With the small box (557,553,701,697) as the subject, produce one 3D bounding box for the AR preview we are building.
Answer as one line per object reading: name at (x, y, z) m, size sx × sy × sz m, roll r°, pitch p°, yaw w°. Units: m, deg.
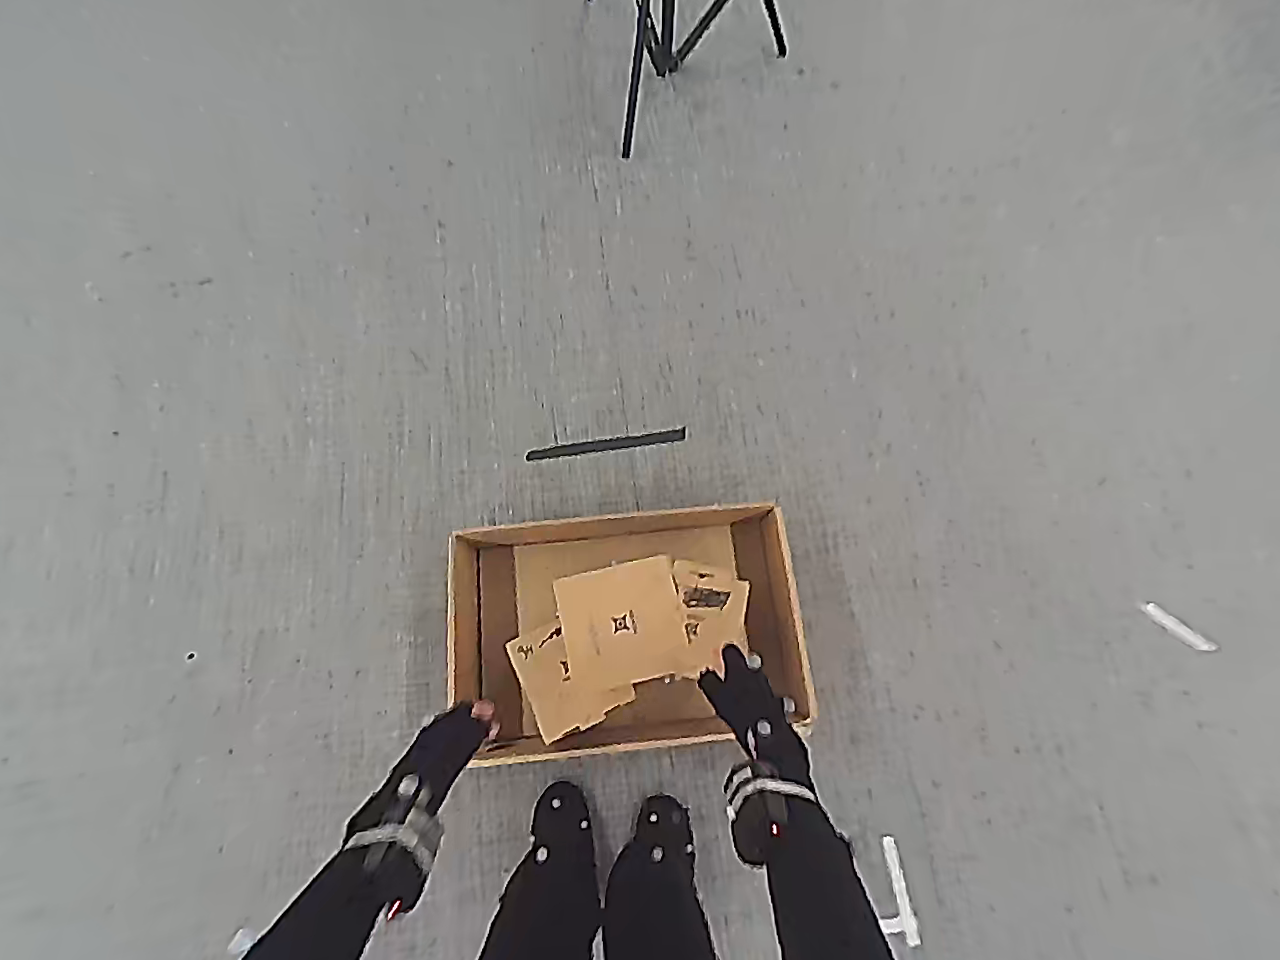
small box at (-0.018, 0.221, 0.830) m, size 0.179 × 0.176 × 0.168 m, roll -13°, pitch 73°, yaw -3°
